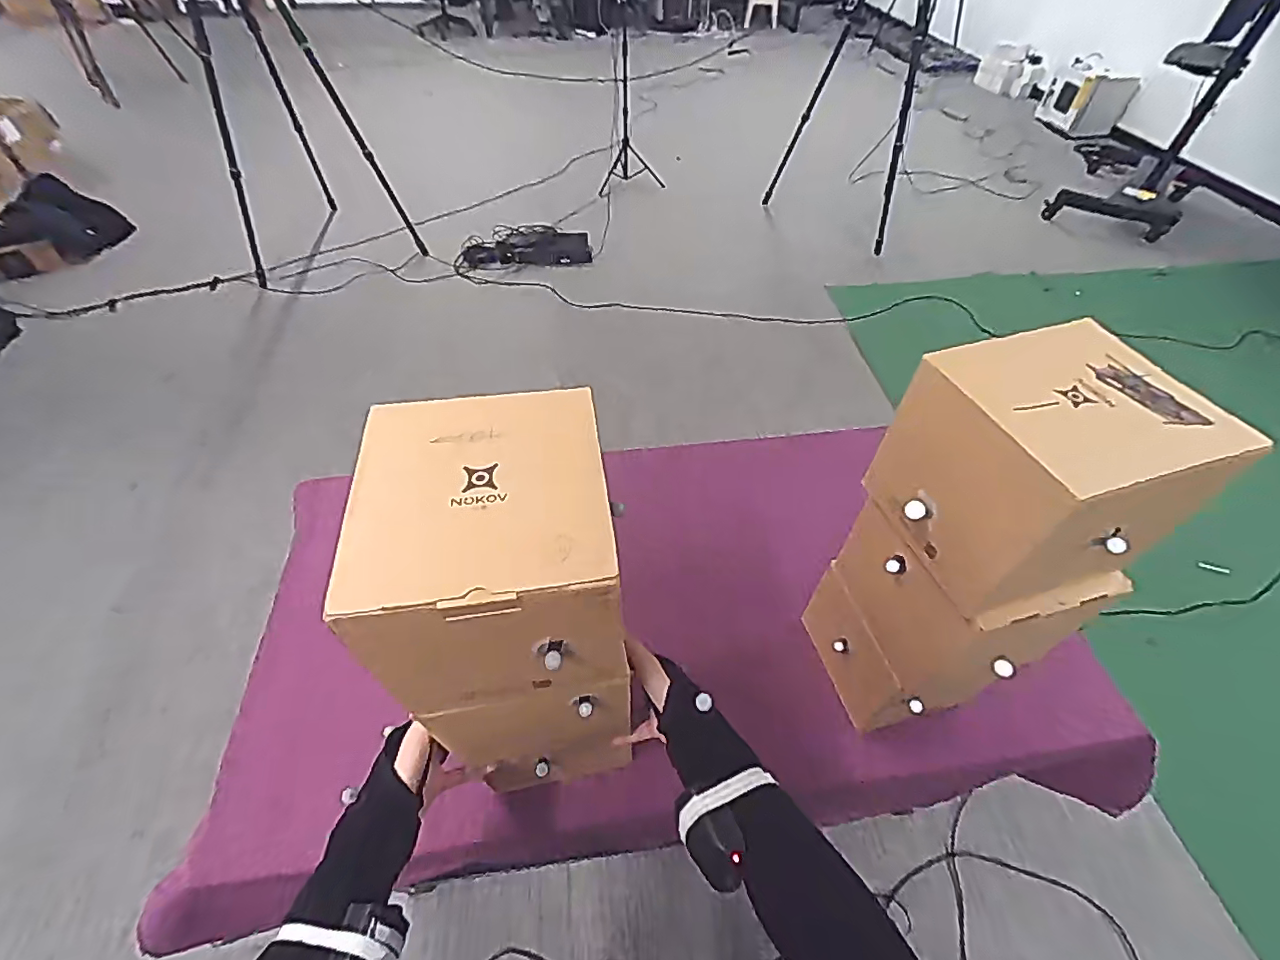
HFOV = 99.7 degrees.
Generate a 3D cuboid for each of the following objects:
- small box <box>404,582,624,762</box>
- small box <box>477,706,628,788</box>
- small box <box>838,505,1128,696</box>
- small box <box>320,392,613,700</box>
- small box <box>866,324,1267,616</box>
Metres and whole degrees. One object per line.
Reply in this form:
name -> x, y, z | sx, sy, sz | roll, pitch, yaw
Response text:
small box -> -0.114, 0.163, 0.541 | 0.179, 0.176, 0.168 | -8, 50, -8
small box -> -0.114, 0.263, 0.670 | 0.179, 0.176, 0.168 | -8, 51, -7
small box -> 0.344, 0.107, 0.590 | 0.168, 0.176, 0.179 | -11, 51, -9
small box -> -0.110, 0.056, 0.419 | 0.168, 0.176, 0.179 | -5, 49, -7
small box -> 0.334, -0.007, 0.471 | 0.179, 0.176, 0.168 | -13, 50, -10
